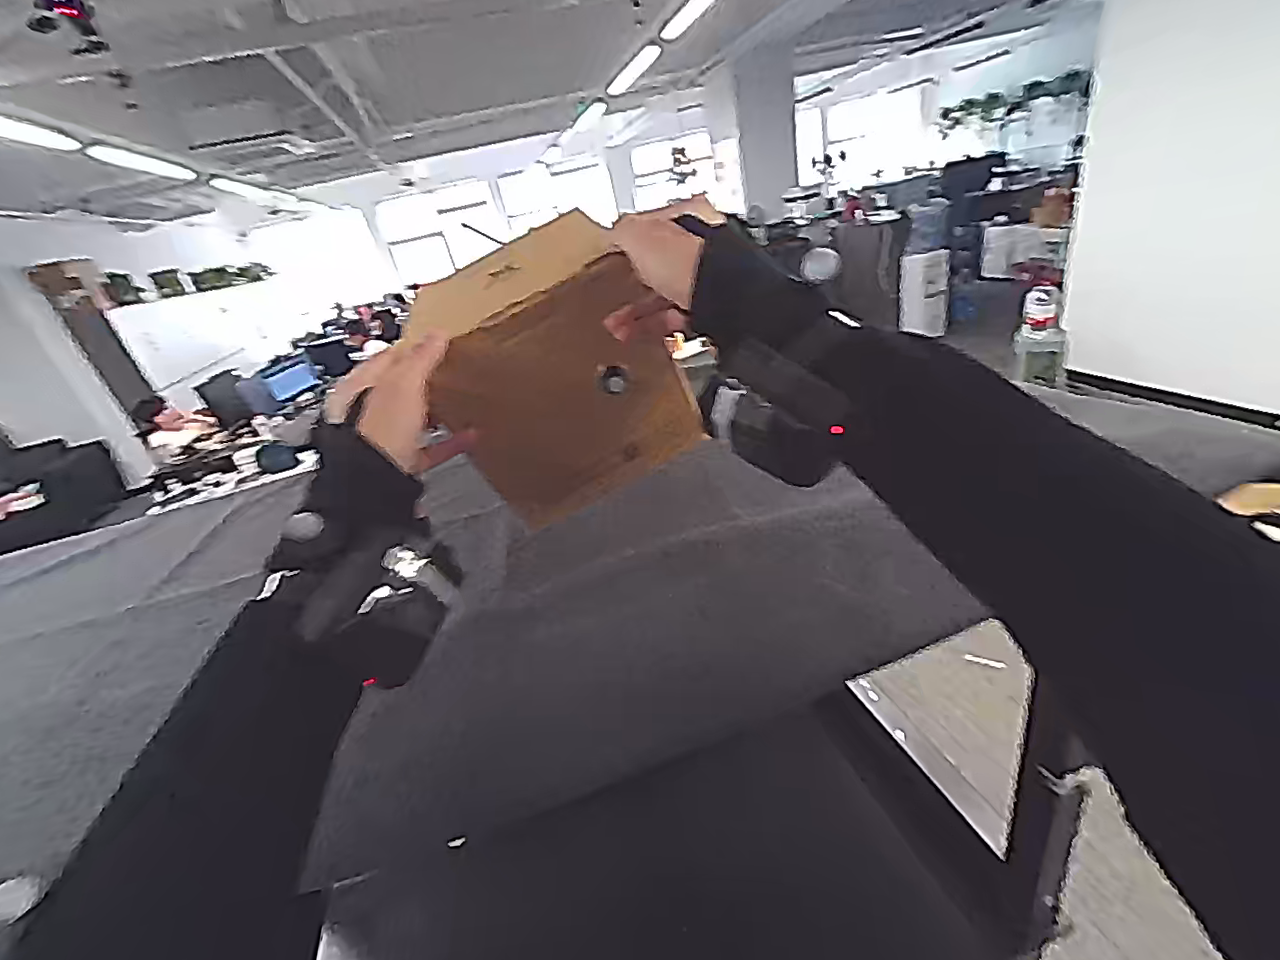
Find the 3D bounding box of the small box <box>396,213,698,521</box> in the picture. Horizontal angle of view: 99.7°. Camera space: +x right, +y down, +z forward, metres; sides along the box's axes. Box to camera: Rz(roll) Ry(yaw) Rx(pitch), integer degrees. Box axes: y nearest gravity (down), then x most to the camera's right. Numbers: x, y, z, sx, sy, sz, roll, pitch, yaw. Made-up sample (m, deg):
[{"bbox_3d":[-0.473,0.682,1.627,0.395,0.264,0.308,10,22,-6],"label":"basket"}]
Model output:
[{"bbox_3d":[-0.072,-0.089,0.447,0.168,0.176,0.179,-28,36,0],"label":"small box"}]
